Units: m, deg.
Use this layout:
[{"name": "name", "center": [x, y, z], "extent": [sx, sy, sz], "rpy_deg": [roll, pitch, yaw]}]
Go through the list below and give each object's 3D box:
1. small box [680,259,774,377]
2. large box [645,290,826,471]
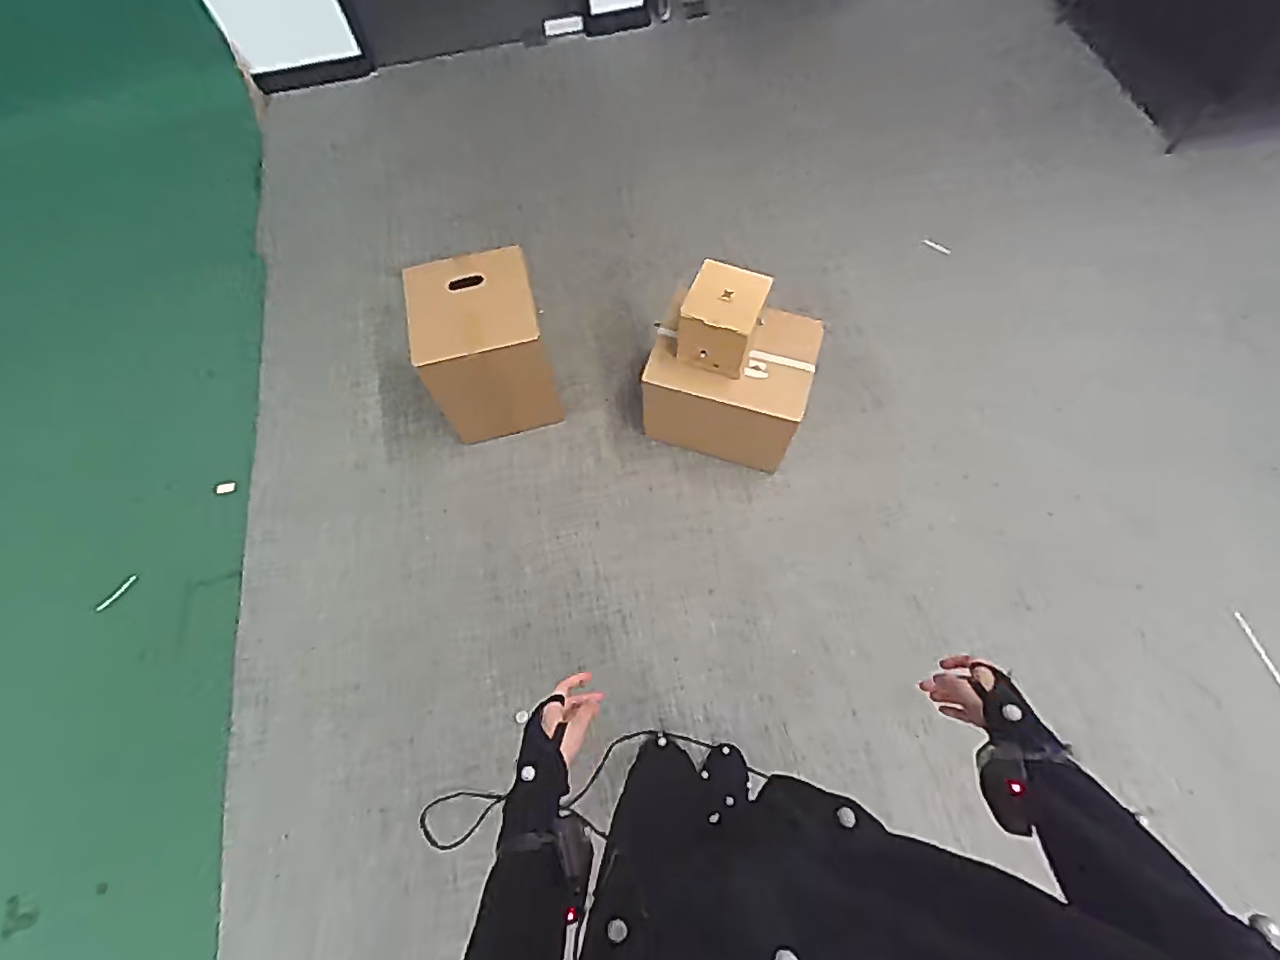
[{"name": "small box", "center": [0.198, -0.378, 1.277], "extent": [0.168, 0.176, 0.179], "rpy_deg": [20, 69, 10]}, {"name": "large box", "center": [0.244, -0.264, 1.490], "extent": [0.408, 0.320, 0.320], "rpy_deg": [17, 69, 7]}]
